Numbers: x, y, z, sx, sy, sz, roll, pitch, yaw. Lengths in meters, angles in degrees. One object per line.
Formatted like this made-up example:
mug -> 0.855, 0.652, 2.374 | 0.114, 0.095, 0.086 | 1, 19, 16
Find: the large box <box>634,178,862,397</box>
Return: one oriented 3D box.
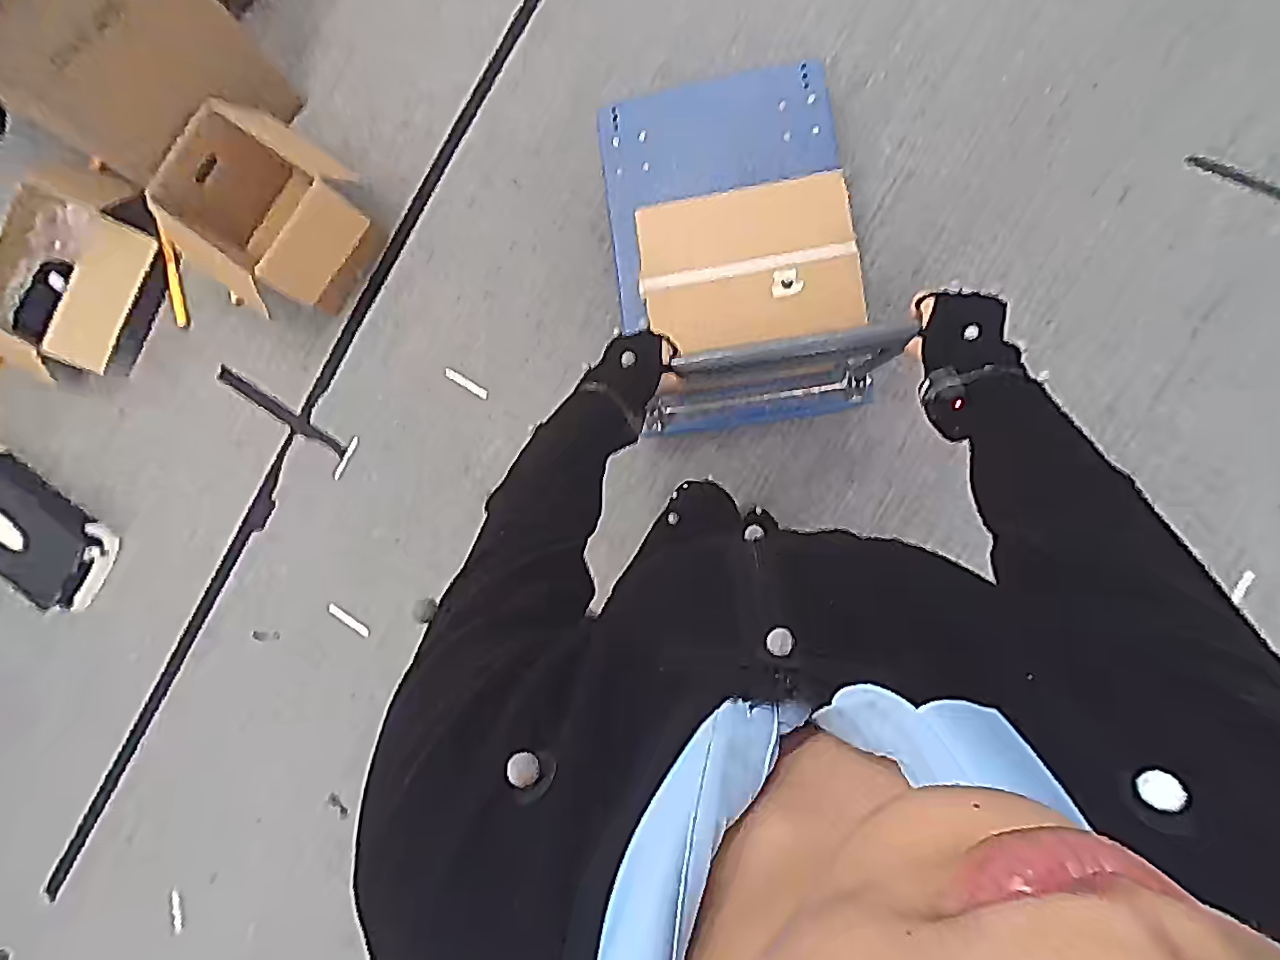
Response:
large box -> 0.217, -0.390, 1.187 | 0.408, 0.320, 0.320 | -8, 87, 6
